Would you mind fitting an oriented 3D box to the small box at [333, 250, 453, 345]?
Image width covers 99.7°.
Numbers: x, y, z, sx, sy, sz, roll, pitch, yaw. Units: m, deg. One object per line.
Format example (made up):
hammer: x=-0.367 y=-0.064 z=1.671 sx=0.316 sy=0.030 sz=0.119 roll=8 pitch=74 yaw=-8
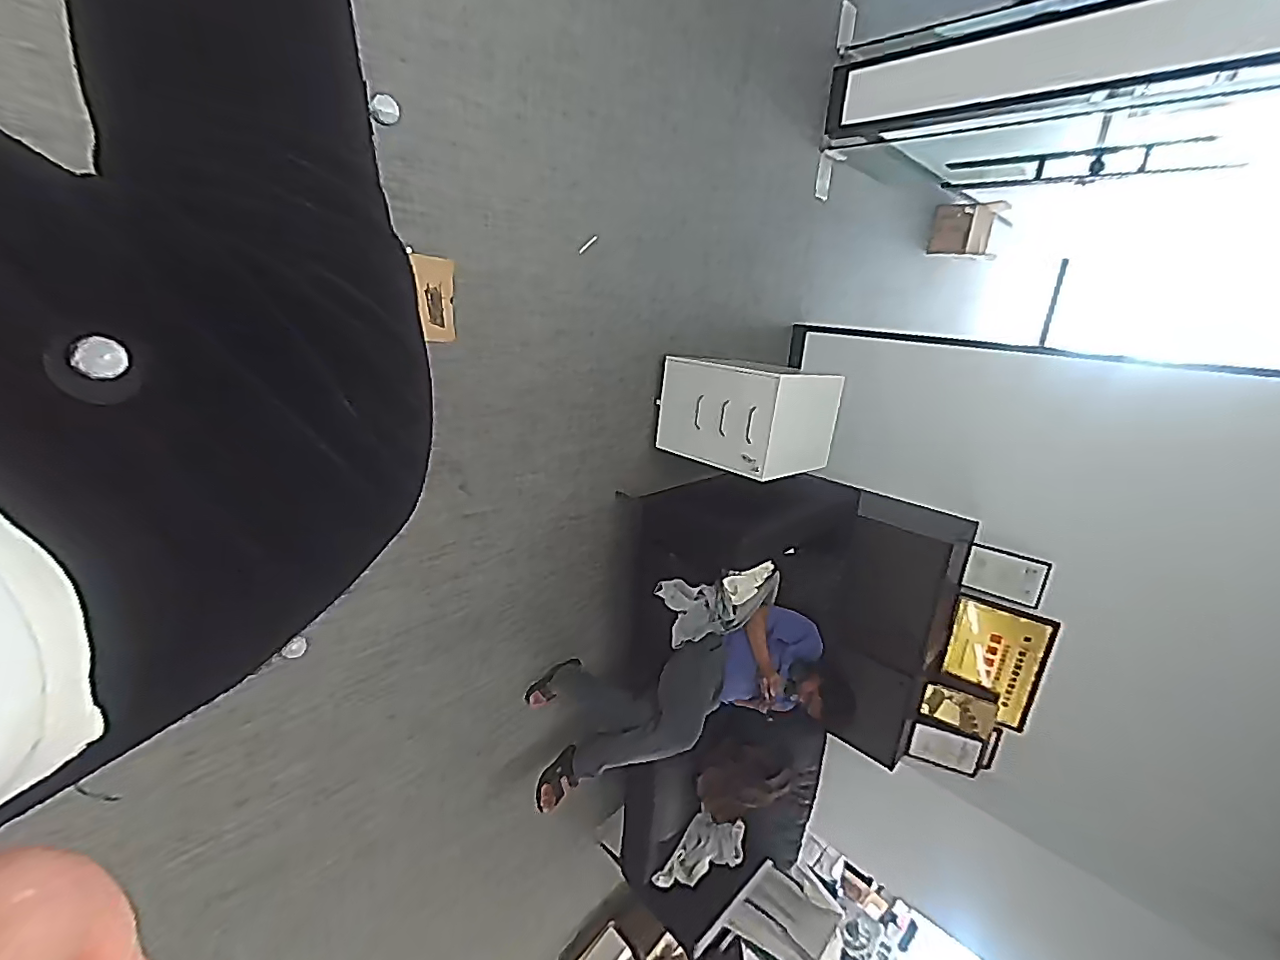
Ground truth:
small box: x=-0.505 y=-0.374 z=1.112 sx=0.179 sy=0.176 sz=0.168 roll=-12 pitch=114 yaw=-44
